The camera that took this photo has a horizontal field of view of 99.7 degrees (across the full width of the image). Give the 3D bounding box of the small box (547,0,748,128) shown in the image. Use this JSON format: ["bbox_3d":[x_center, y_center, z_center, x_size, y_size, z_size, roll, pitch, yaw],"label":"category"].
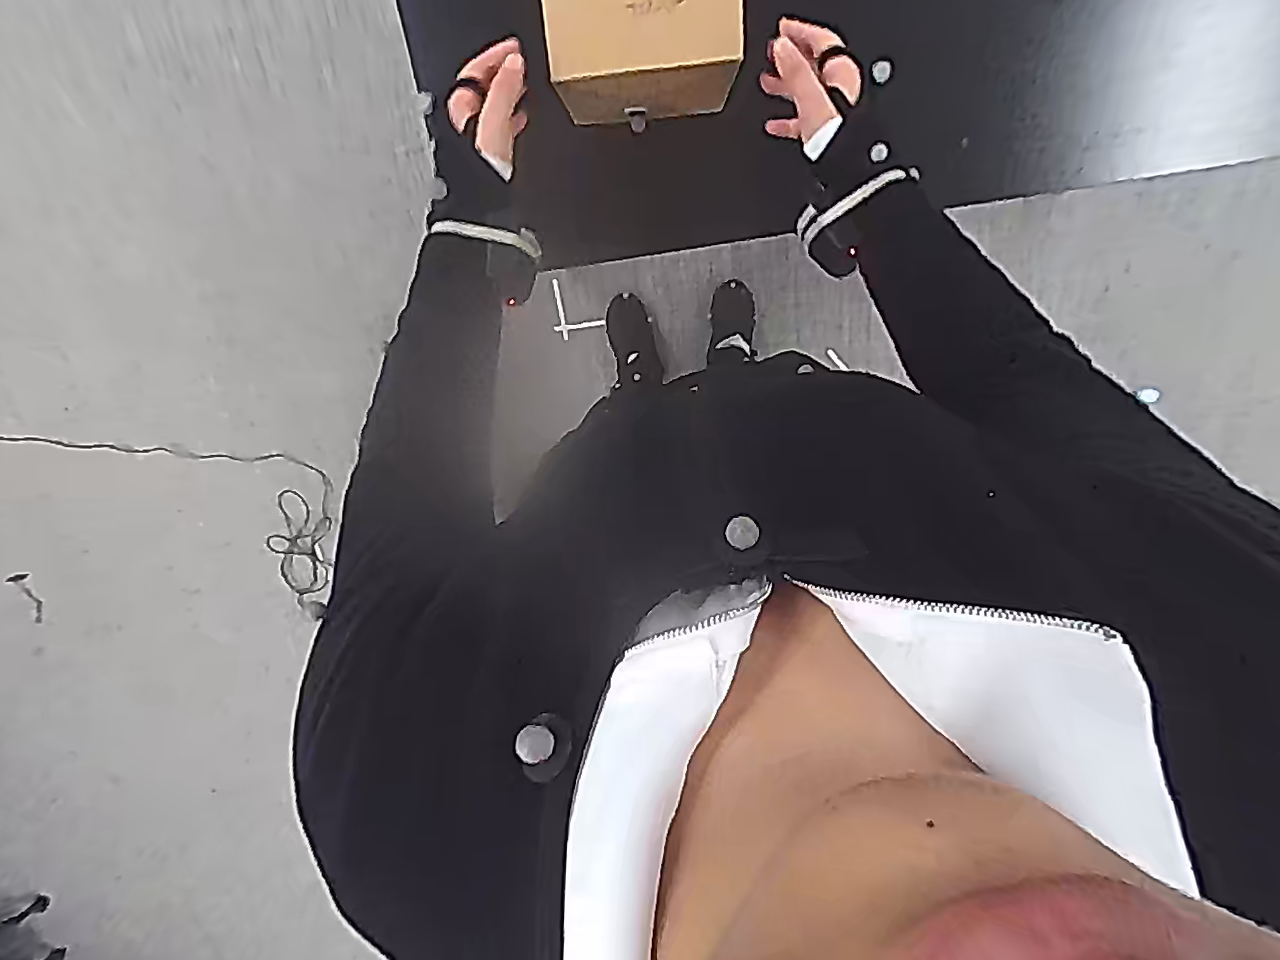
[{"bbox_3d":[0.005,-0.454,0.500,0.168,0.176,0.179,-4,112,5],"label":"small box"}]
